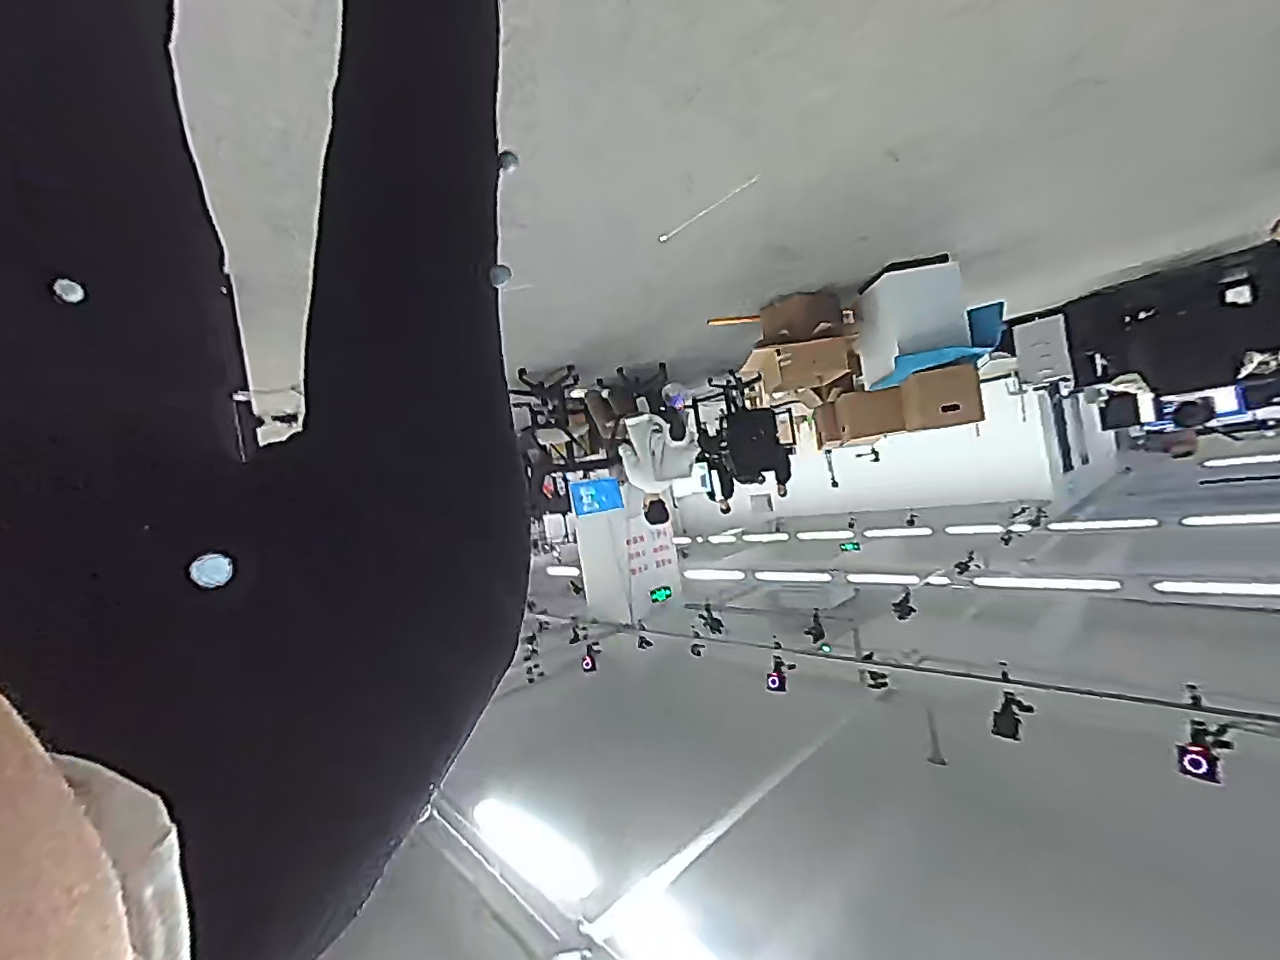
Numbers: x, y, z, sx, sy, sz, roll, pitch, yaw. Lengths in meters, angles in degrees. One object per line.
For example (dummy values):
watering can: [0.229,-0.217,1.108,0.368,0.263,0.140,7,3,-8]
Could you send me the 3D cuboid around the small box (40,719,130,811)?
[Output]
small box: [-1.683,0.854,1.640,0.168,0.176,0.179,-7,-178,44]
